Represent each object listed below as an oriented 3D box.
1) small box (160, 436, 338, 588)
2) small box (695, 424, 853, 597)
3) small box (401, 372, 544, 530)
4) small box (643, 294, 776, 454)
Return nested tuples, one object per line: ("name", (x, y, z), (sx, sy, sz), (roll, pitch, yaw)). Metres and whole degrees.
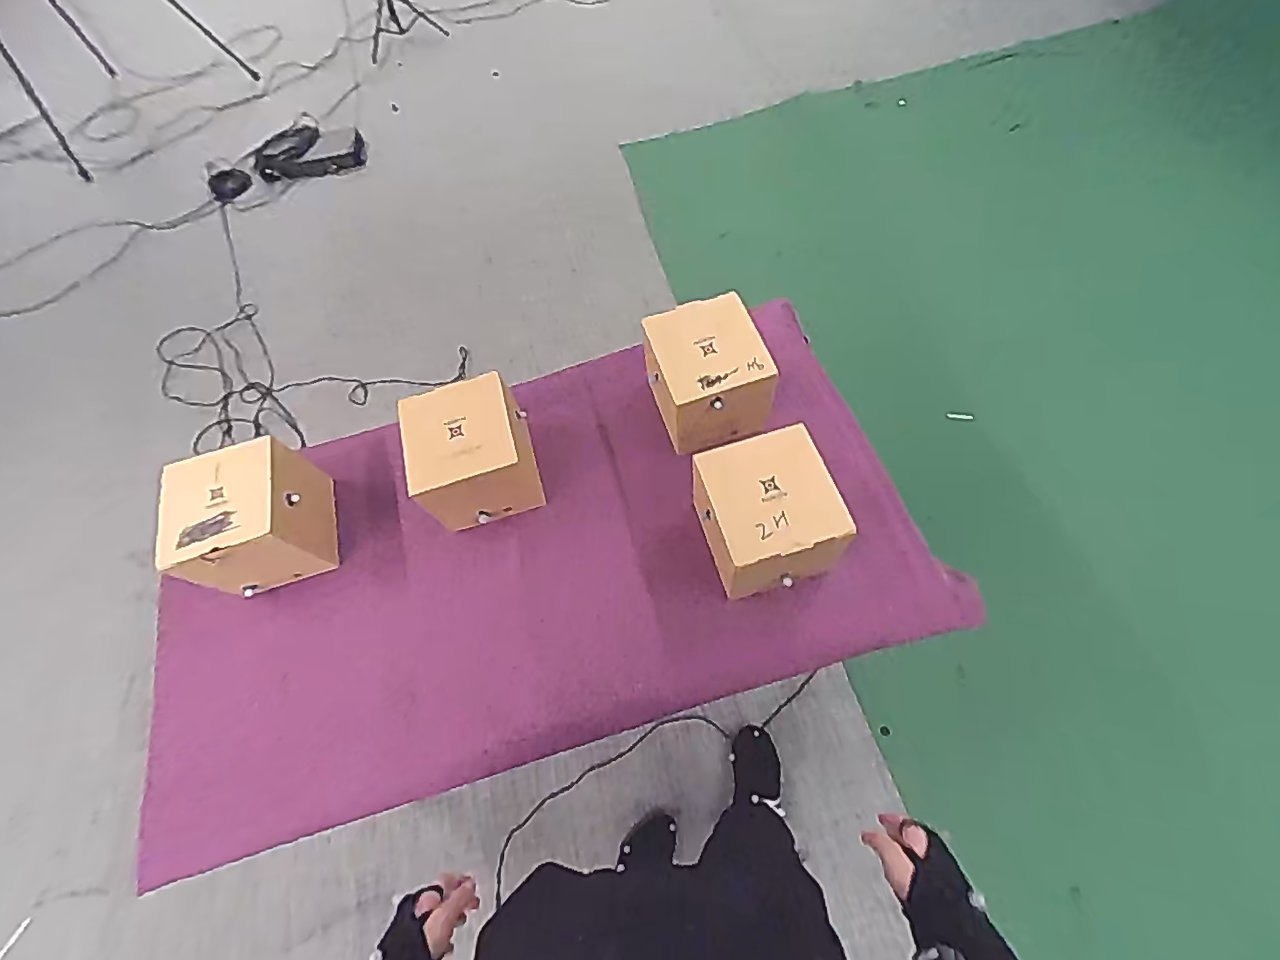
("small box", (-0.612, 0.062, 0.868), (0.168, 0.176, 0.179), (-18, 64, -4))
("small box", (0.182, 0.050, 0.796), (0.168, 0.176, 0.179), (-16, 63, -1))
("small box", (-0.269, -0.041, 0.888), (0.168, 0.176, 0.179), (-17, 65, -2))
("small box", (0.110, -0.173, 0.913), (0.168, 0.176, 0.179), (-18, 64, -3))
